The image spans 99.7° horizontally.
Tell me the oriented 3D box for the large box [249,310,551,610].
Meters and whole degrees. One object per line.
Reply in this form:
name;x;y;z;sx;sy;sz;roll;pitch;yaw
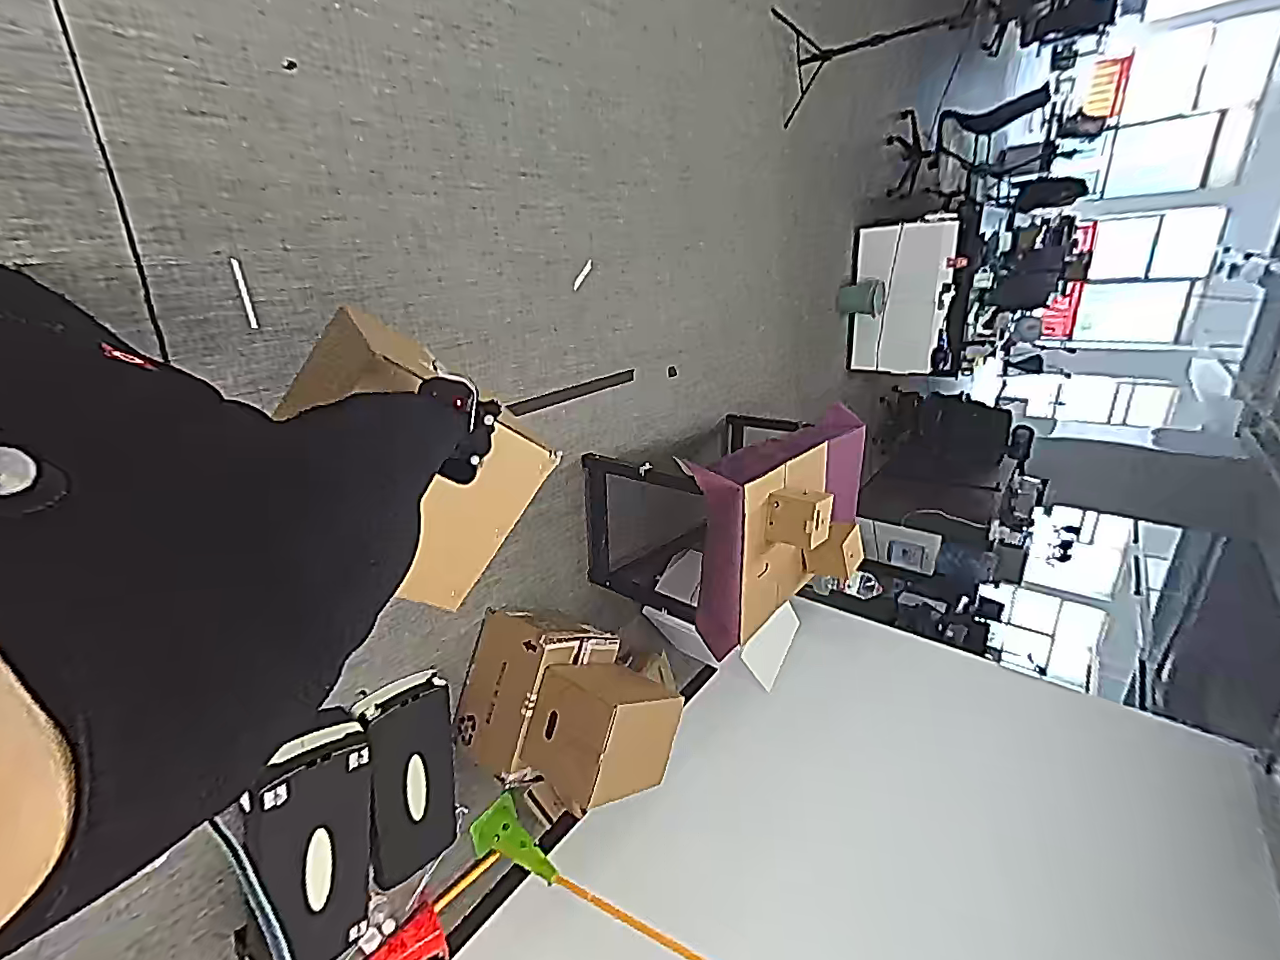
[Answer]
large box;-0.431;-0.043;0.940;0.320;0.408;0.320;31;95;-42
